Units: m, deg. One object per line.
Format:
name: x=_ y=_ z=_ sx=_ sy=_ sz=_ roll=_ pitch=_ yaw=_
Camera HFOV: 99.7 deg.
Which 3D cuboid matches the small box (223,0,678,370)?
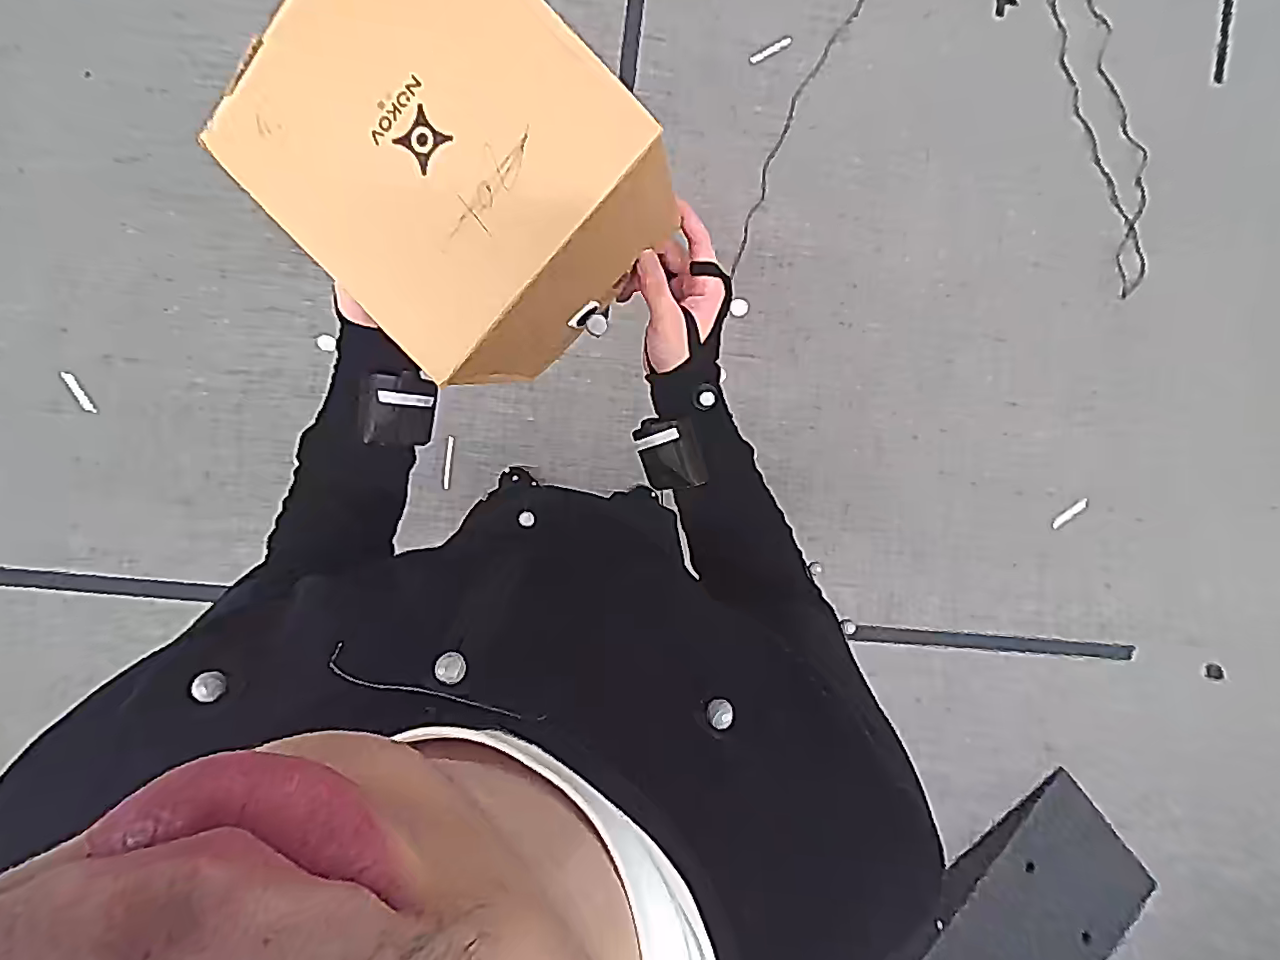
small box: x=-0.093 y=-0.186 z=0.347 sx=0.179 sy=0.176 sz=0.168 roll=45 pitch=104 yaw=-4
